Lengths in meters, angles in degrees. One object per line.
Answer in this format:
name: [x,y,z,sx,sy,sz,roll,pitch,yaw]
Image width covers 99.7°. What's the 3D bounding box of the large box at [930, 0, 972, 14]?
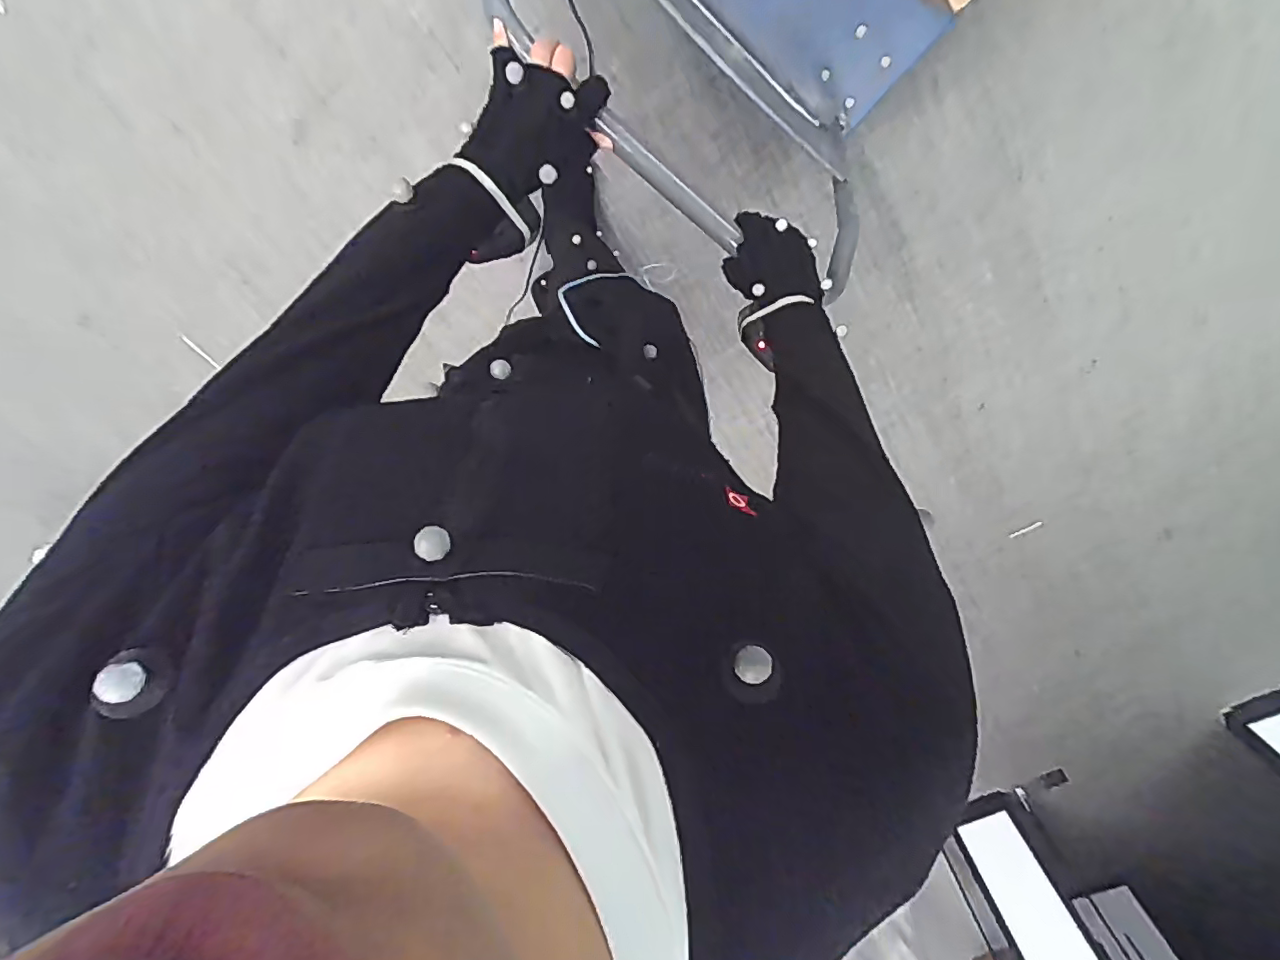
large box: [0.414,-0.896,0.651,0.320,0.320,0.408,-29,121,35]
